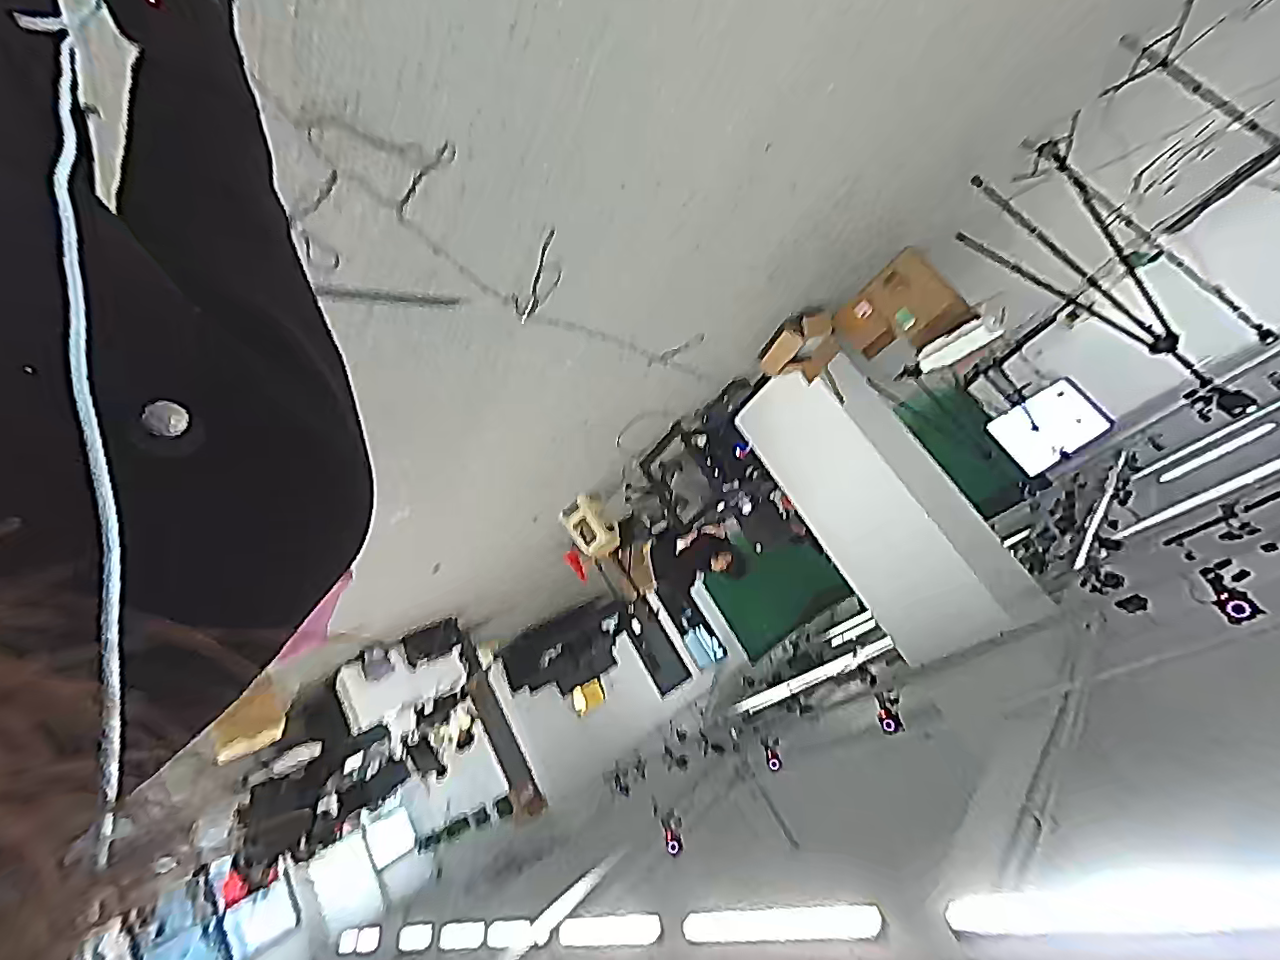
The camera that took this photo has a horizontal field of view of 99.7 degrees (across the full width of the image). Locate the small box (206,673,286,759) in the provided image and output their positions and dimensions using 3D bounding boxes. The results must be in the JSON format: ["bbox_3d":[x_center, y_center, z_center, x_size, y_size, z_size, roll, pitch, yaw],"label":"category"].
[{"bbox_3d":[-1.222,0.724,1.676,0.168,0.176,0.179,-15,157,-44],"label":"small box"}]
